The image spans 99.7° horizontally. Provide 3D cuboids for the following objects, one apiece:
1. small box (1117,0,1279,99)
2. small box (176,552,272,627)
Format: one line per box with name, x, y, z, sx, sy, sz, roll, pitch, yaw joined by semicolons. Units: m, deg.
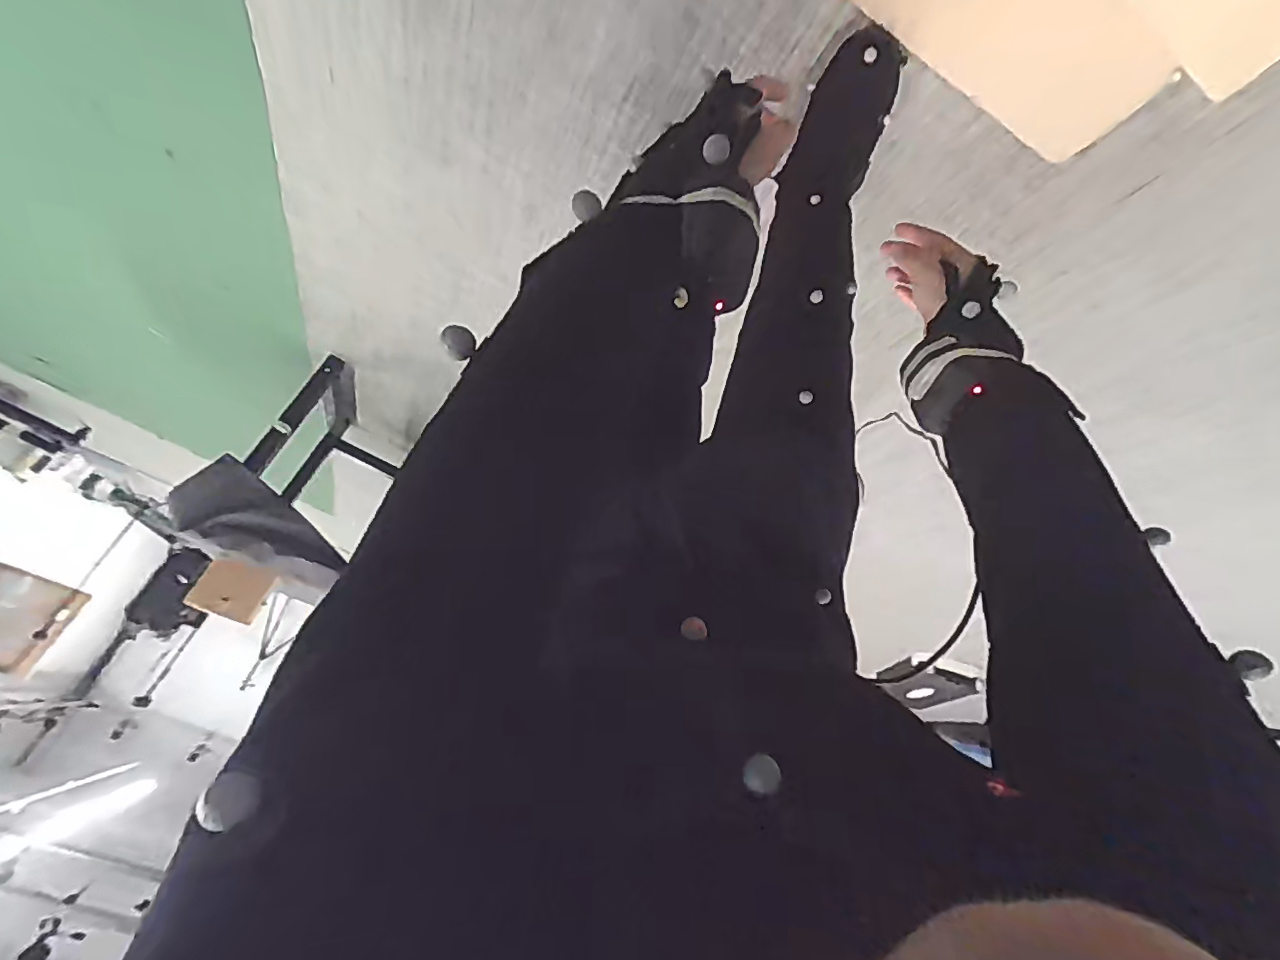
small box;0.551;-0.508;0.486;0.179;0.176;0.168;28;151;-14
small box;-1.278;0.343;1.681;0.179;0.176;0.168;32;149;-19
